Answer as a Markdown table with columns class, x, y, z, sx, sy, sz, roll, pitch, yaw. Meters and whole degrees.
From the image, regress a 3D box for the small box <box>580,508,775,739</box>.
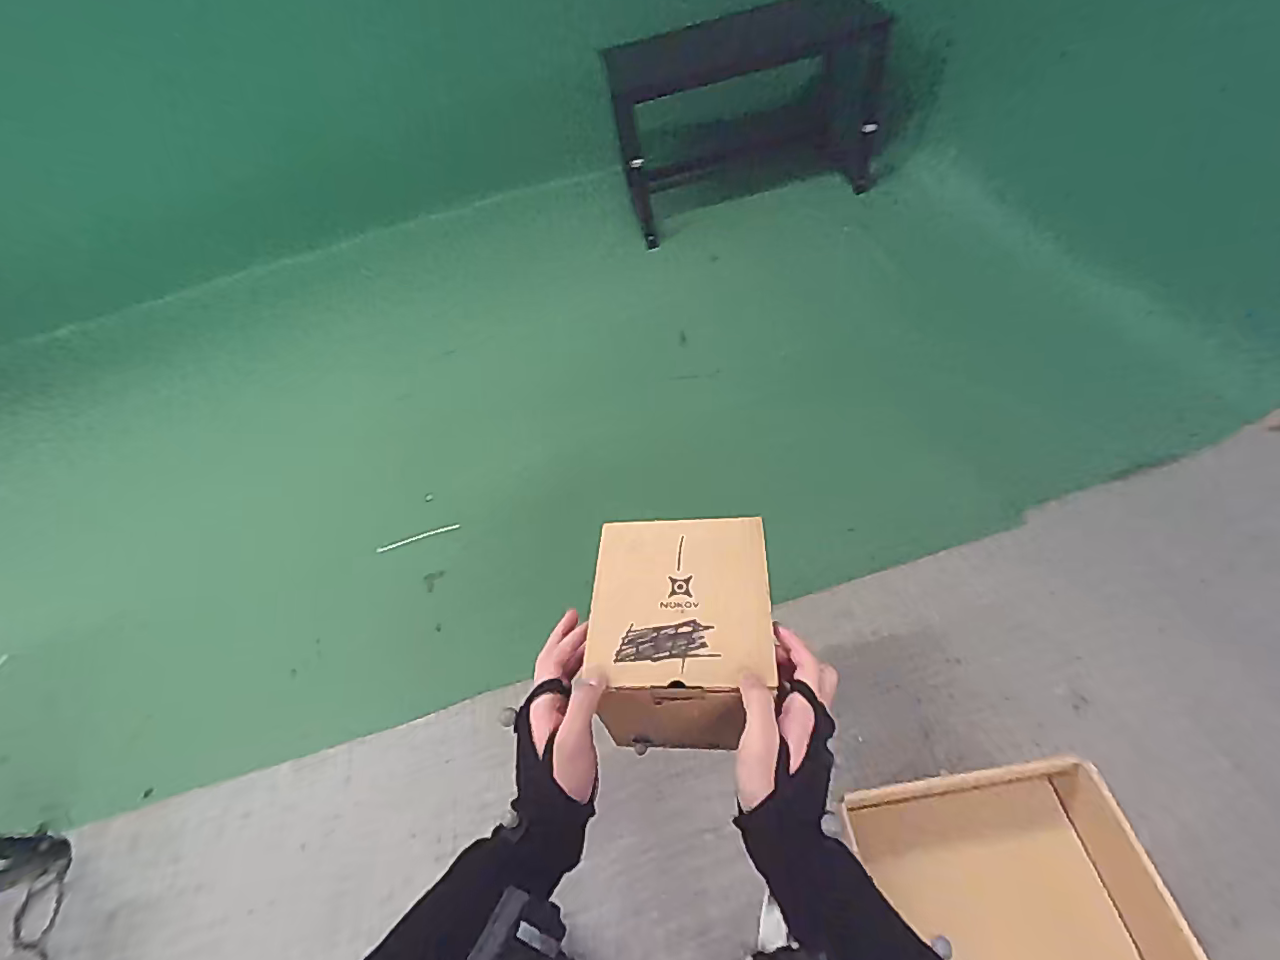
| class | x | y | z | sx | sy | sz | roll | pitch | yaw |
| --- | --- | --- | --- | --- | --- | --- | --- | --- | --- |
| small box | 0.048 | 0.150 | 0.551 | 0.168 | 0.176 | 0.179 | -3 | 48 | 9 |
